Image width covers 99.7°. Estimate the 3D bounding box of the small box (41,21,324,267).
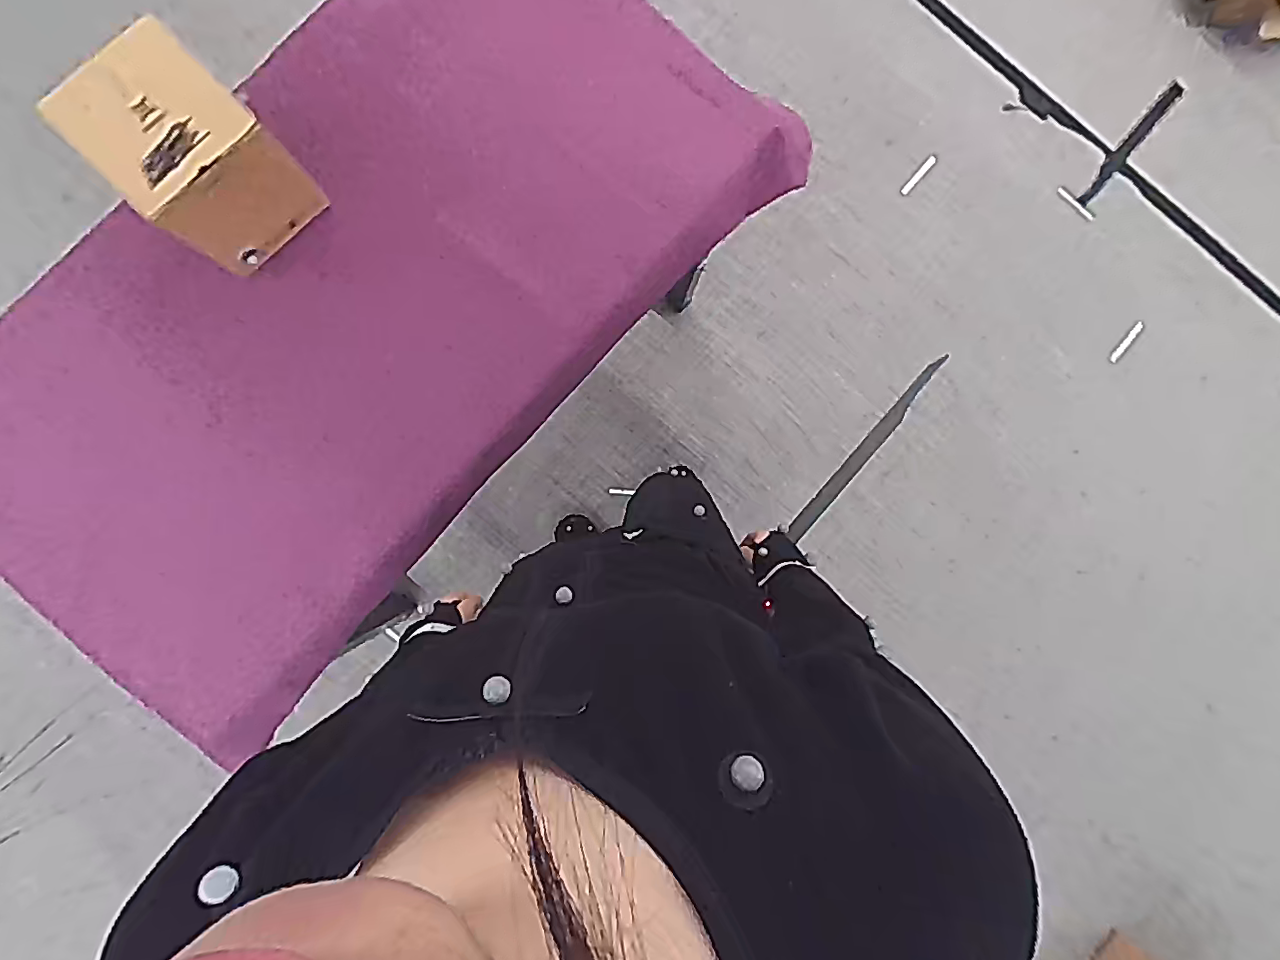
[{"bbox_3d":[-0.553,-0.400,0.687,0.179,0.176,0.168,45,85,-1],"label":"small box"}]
